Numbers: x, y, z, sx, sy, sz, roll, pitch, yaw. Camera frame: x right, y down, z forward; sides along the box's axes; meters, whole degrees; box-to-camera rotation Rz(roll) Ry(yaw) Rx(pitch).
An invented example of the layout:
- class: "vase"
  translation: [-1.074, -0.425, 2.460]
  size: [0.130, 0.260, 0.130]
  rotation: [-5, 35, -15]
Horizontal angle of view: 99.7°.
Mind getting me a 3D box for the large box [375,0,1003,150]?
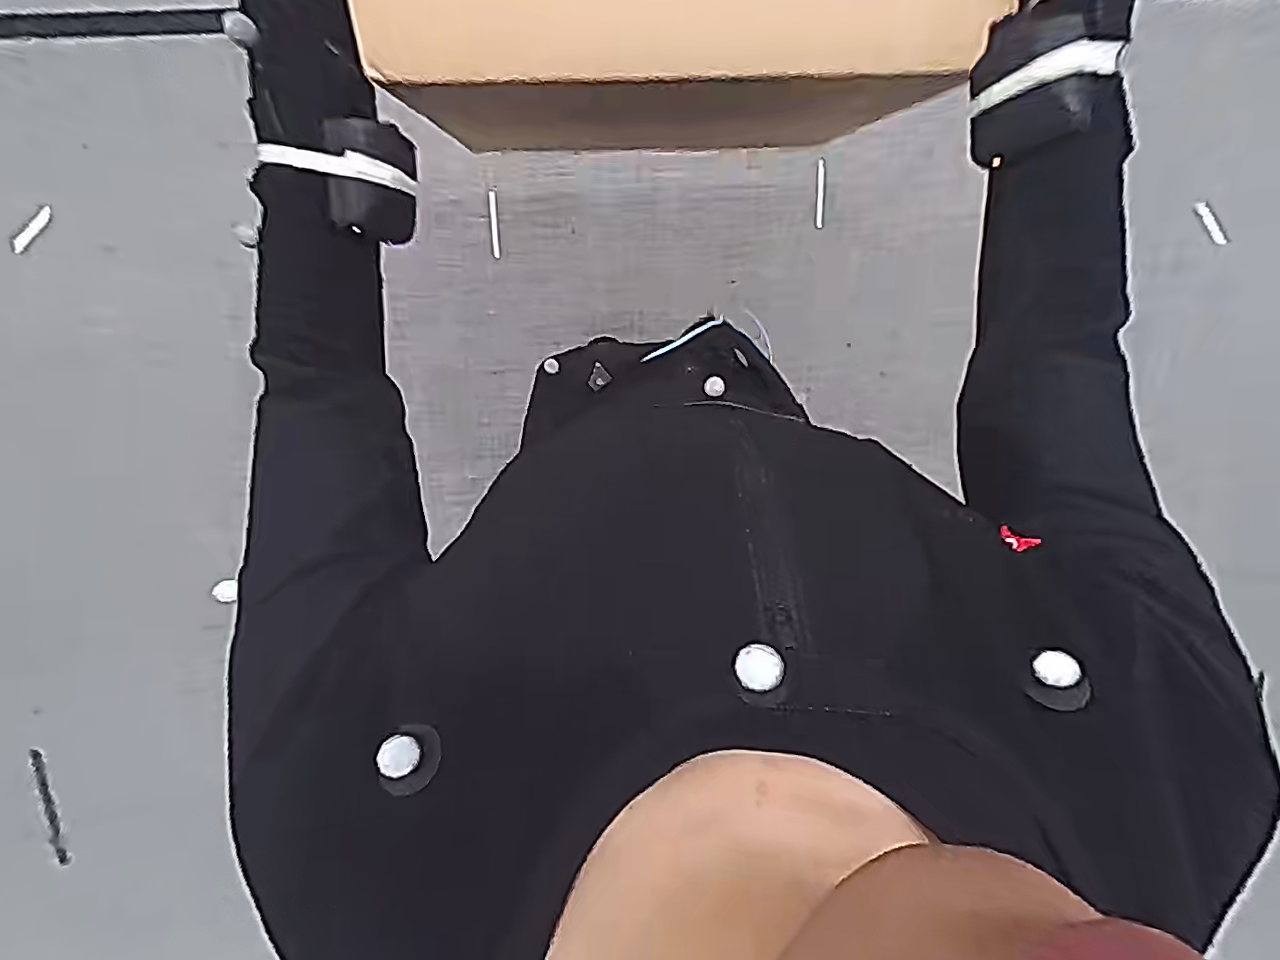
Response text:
- class: "large box"
  translation: [0.019, -0.462, 0.422]
  size: [0.408, 0.320, 0.320]
  rotation: [-3, 115, -5]
